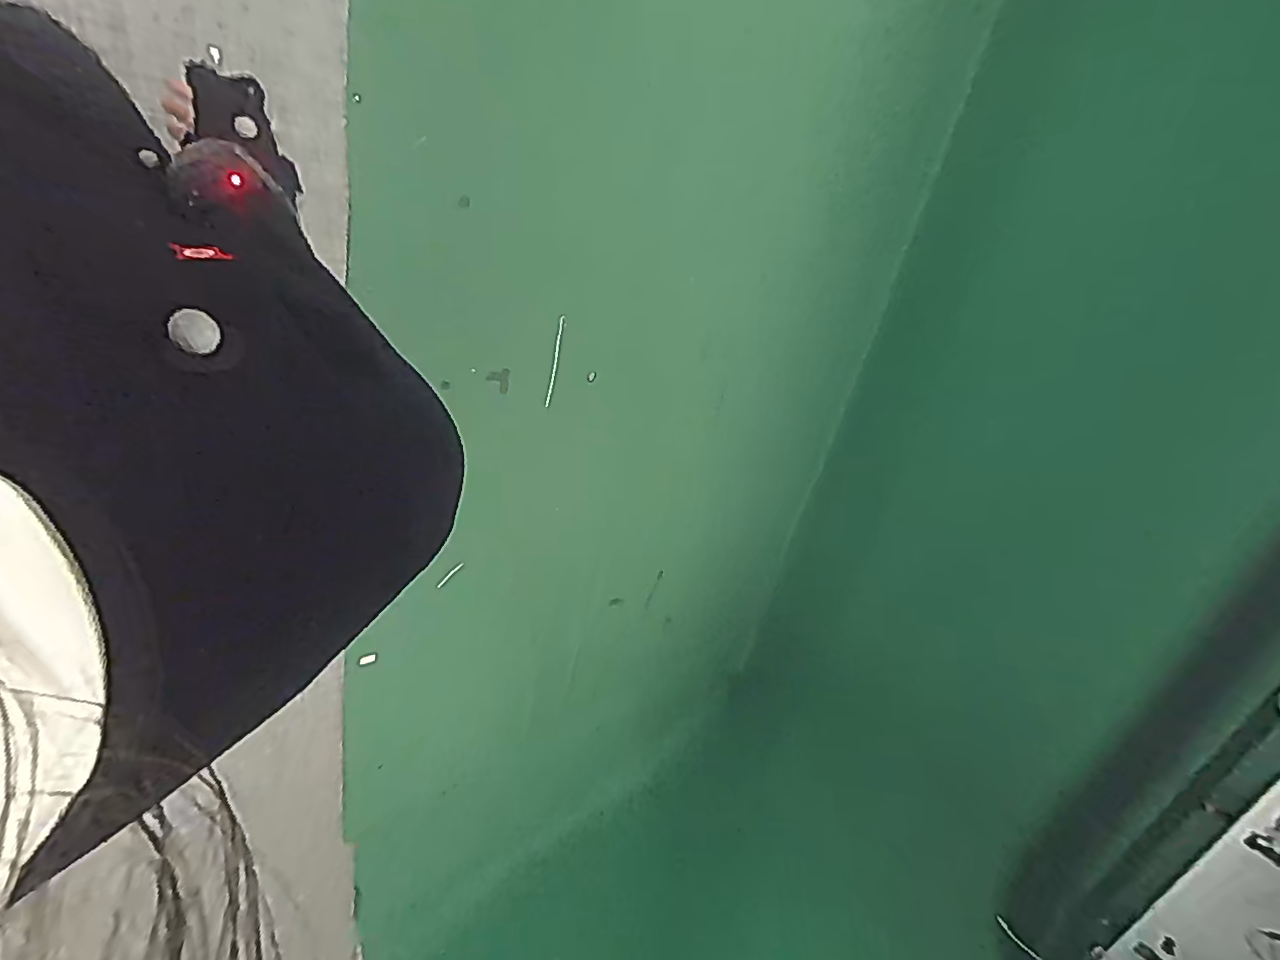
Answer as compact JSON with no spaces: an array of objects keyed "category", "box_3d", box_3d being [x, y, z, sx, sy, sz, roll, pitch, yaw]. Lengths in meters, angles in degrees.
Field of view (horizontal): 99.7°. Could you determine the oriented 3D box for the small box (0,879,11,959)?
[{"category":"small box","box_3d":[-1.558,1.033,1.209,0.179,0.176,0.168,-15,125,-45]}]
